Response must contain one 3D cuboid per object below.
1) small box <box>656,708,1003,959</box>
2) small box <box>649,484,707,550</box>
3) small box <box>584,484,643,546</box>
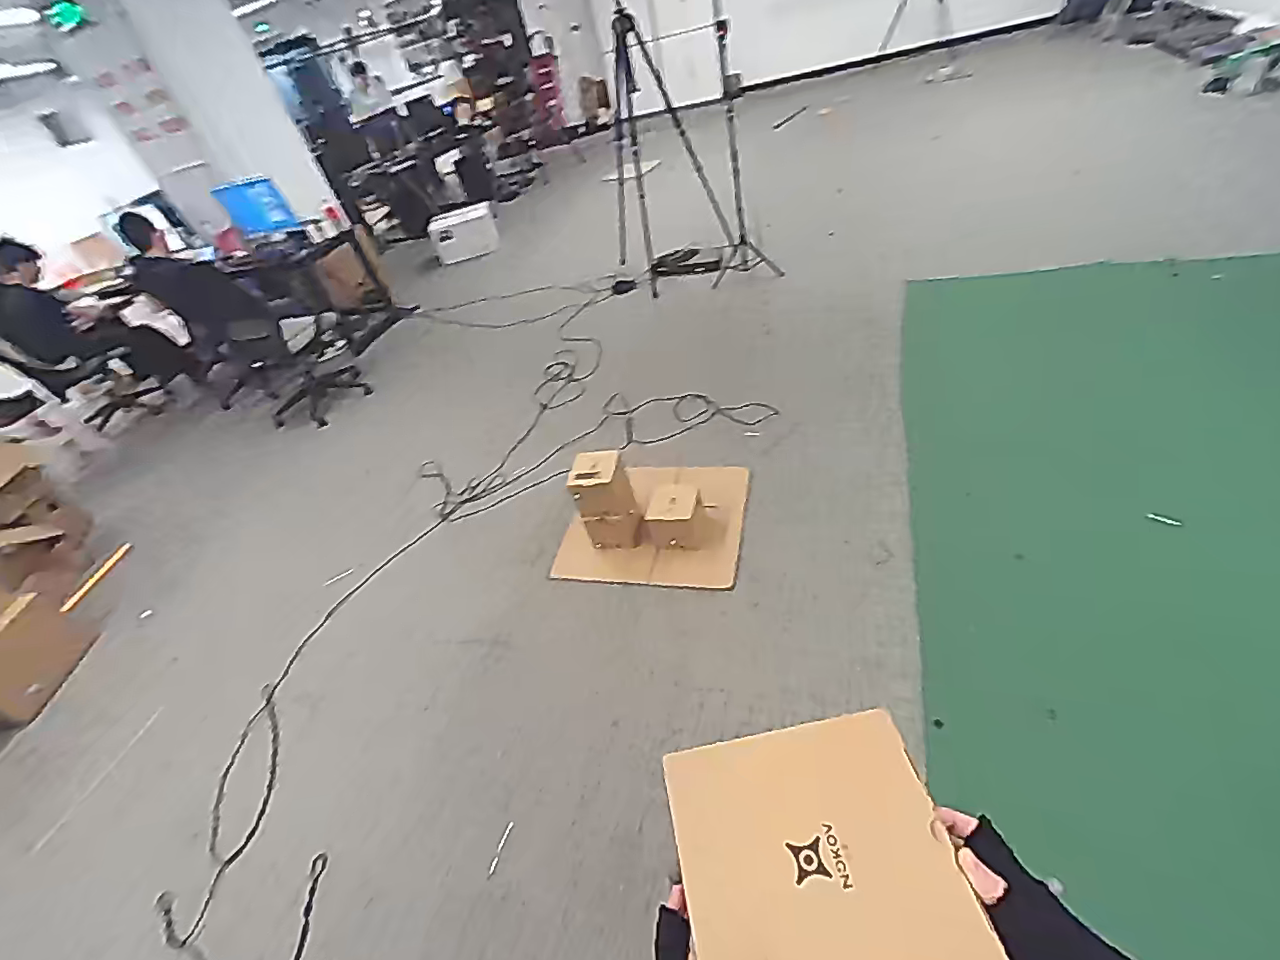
[{"bbox_3d":[0.120,0.300,0.401,0.179,0.176,0.168,-12,44,-2],"label":"small box"},{"bbox_3d":[0.146,0.134,1.979,0.168,0.176,0.179,-1,44,21],"label":"small box"},{"bbox_3d":[-0.093,0.139,2.056,0.168,0.176,0.179,-3,42,17],"label":"small box"}]
